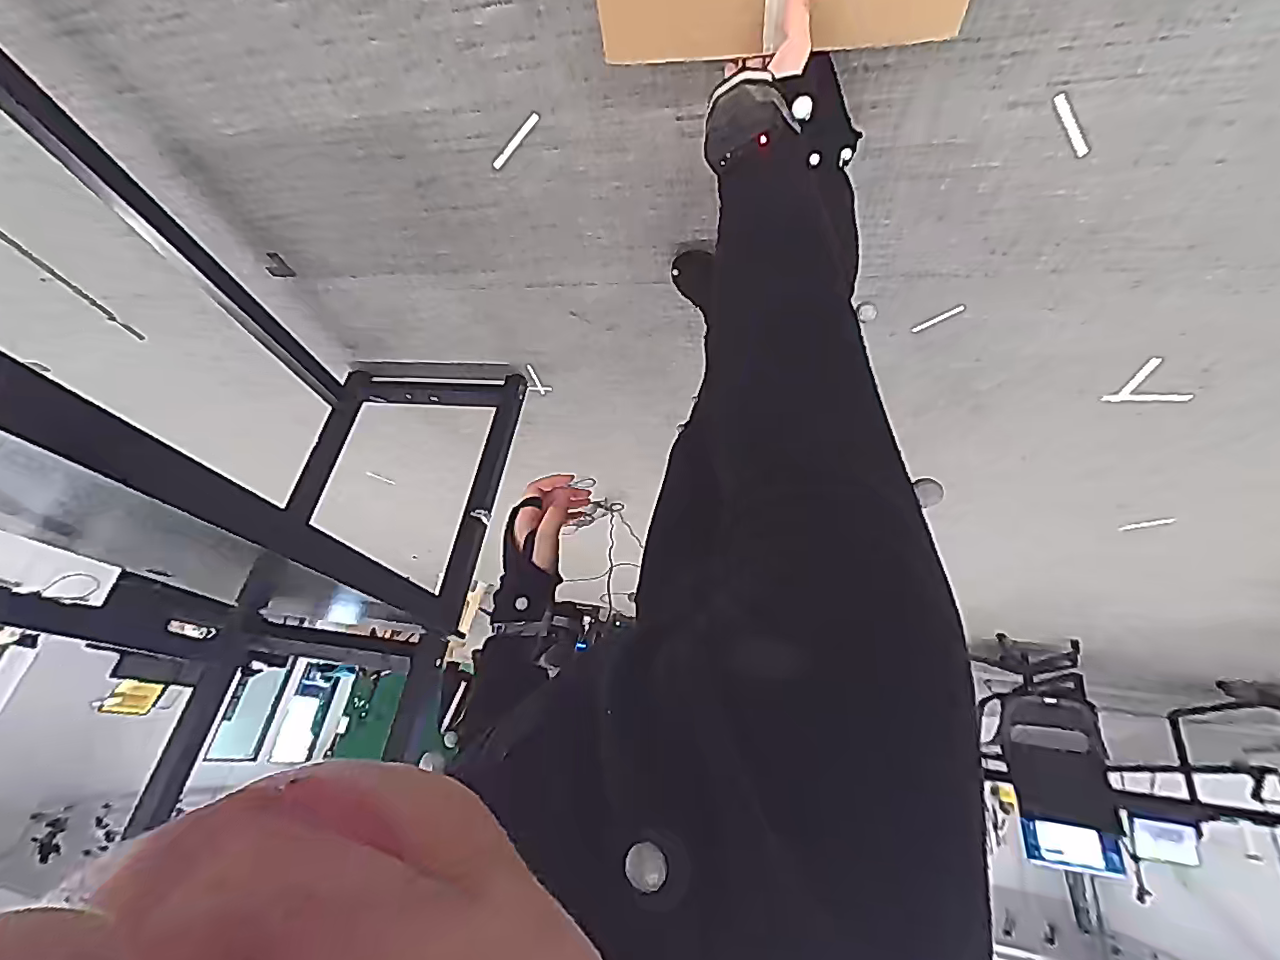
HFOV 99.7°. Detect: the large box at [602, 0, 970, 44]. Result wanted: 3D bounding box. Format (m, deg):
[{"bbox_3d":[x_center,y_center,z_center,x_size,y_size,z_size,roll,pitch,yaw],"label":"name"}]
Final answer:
[{"bbox_3d":[0.119,-0.623,0.382,0.320,0.320,0.408,4,150,10],"label":"large box"}]
